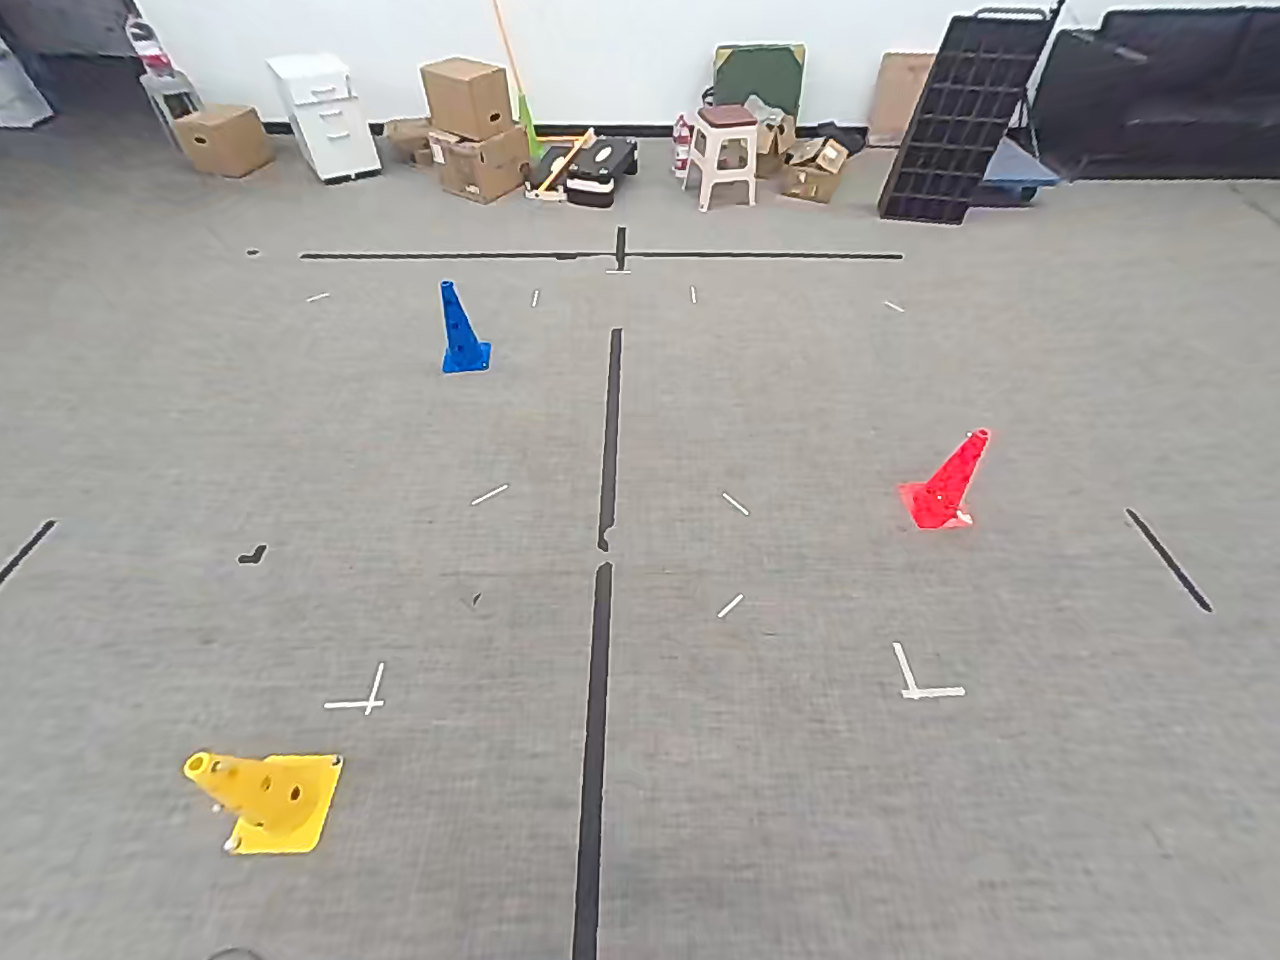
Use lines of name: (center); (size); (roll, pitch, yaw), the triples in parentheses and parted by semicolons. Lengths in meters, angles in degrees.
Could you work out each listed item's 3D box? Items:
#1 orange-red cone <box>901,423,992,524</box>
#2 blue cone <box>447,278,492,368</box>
orange-red cone: (1.031, -0.043, 1.746); (0.198, 0.360, 0.199); (-3, 48, -4)
blue cone: (-0.752, -0.663, 2.266); (0.192, 0.380, 0.193); (-4, 49, -4)
